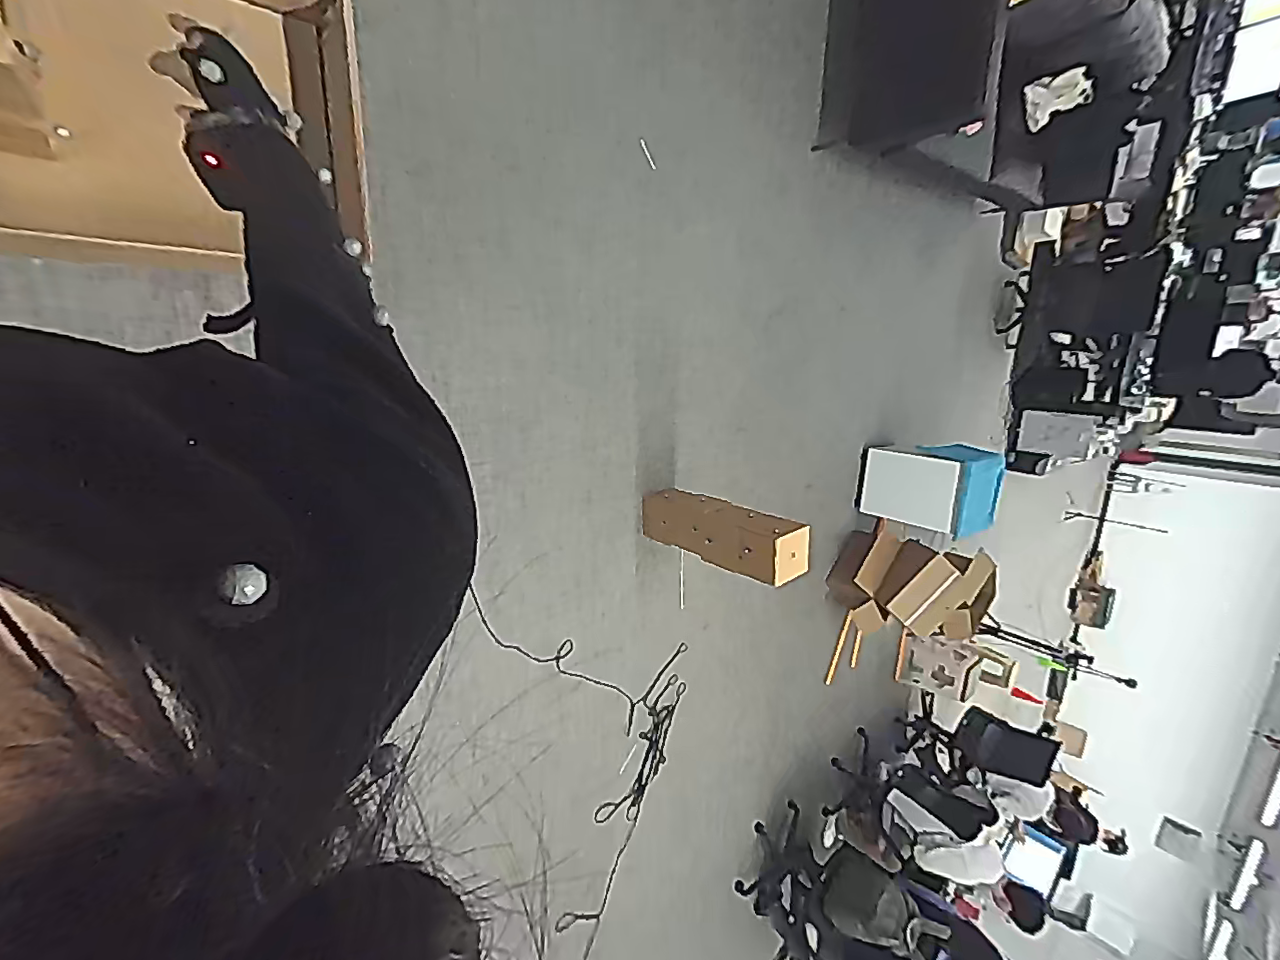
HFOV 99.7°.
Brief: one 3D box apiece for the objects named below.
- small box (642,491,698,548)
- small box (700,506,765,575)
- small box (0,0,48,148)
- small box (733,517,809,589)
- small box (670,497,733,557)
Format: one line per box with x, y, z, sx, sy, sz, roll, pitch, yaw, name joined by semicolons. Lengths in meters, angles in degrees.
0.120;0.148;2.141;0.168;0.176;0.179;-13;109;-39;small box
0.322;0.206;1.891;0.168;0.176;0.179;-15;111;-38;small box
-0.782;-0.483;0.584;0.179;0.176;0.168;-9;107;-41;small box
0.426;0.231;1.767;0.179;0.176;0.168;-14;109;-37;small box
0.227;0.168;2.019;0.168;0.176;0.179;-12;109;-38;small box
